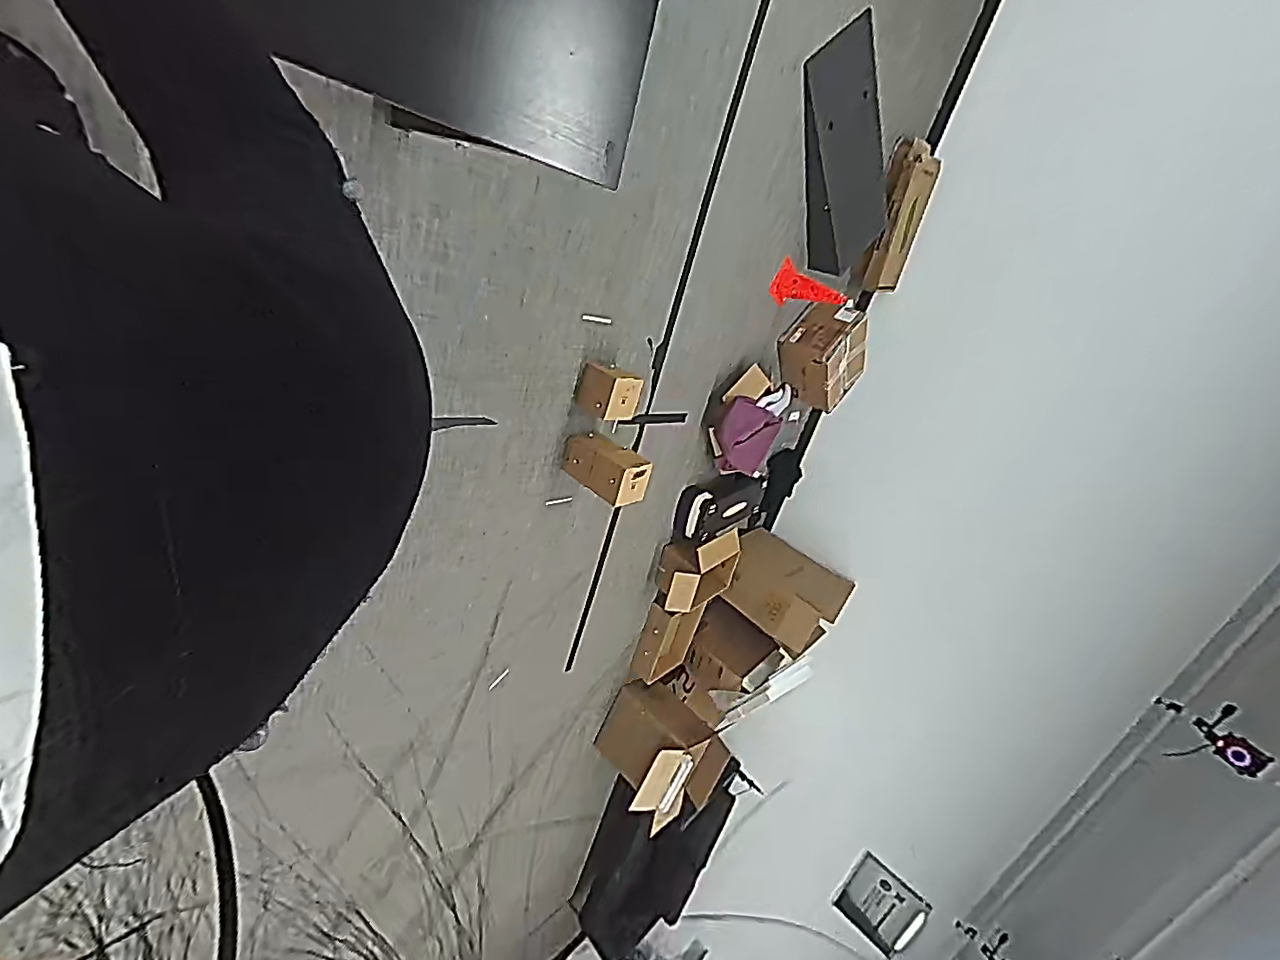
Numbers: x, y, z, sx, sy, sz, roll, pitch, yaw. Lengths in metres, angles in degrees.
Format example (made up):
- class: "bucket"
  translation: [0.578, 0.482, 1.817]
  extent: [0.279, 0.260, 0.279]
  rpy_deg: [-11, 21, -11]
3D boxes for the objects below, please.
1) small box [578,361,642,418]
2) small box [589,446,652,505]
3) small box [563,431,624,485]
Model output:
- class: "small box"
  translation: [-0.124, -0.358, 2.147]
  extent: [0.168, 0.176, 0.179]
  rpy_deg: [-9, 124, -49]
- class: "small box"
  translation: [-0.083, -0.027, 2.178]
  extent: [0.168, 0.176, 0.179]
  rpy_deg: [-14, 128, -47]
- class: "small box"
  translation: [-0.200, -0.097, 2.274]
  extent: [0.179, 0.176, 0.168]
  rpy_deg: [-13, 127, -46]
